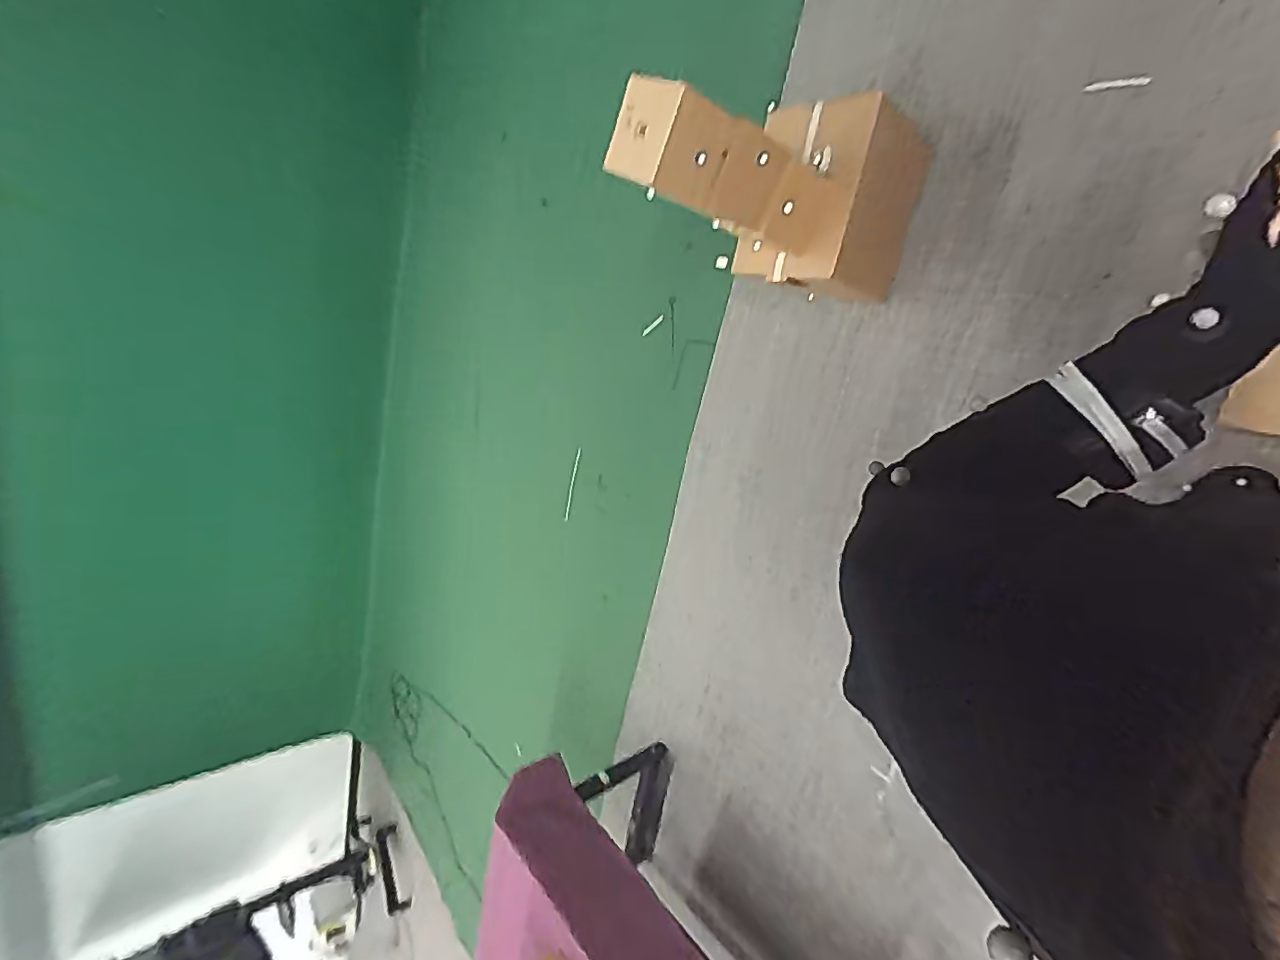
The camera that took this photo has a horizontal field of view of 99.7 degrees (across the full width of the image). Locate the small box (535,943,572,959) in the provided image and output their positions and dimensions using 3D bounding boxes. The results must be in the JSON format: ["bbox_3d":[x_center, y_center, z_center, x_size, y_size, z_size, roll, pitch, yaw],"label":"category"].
[{"bbox_3d":[-0.239,1.347,1.372,0.168,0.176,0.179,25,110,43],"label":"small box"}]

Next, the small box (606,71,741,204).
[{"bbox_3d":[0.067,-0.670,1.072,0.179,0.176,0.168,44,122,37],"label":"small box"}]

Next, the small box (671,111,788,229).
[{"bbox_3d":[0.194,-0.675,1.176,0.168,0.176,0.179,44,123,38],"label":"small box"}]

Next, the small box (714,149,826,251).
[{"bbox_3d":[0.314,-0.670,1.287,0.168,0.176,0.179,39,120,39],"label":"small box"}]

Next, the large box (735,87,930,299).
[{"bbox_3d":[0.504,-0.723,1.436,0.320,0.320,0.408,26,109,43],"label":"large box"}]
